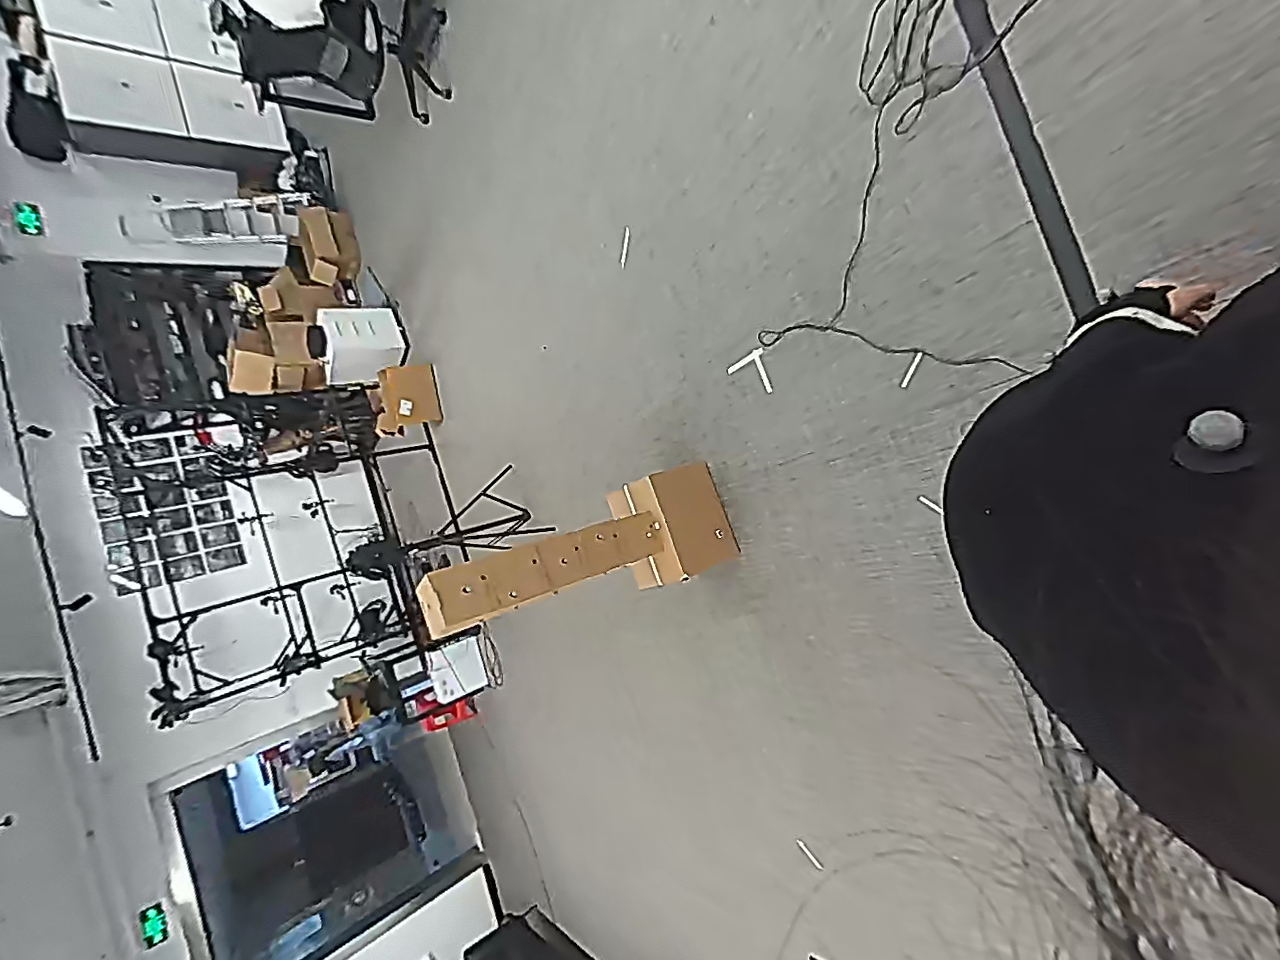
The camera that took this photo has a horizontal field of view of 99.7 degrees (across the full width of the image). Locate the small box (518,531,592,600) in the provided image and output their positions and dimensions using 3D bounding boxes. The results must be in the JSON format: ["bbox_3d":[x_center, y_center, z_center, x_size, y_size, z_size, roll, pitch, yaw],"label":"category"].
[{"bbox_3d":[-0.282,0.284,1.817,0.179,0.176,0.168,-36,72,50],"label":"small box"}]

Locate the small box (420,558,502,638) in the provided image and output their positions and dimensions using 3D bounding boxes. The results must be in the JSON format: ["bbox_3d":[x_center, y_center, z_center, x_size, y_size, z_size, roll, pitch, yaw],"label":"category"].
[{"bbox_3d":[-0.530,0.349,1.613,0.179,0.176,0.168,-41,69,48],"label":"small box"}]

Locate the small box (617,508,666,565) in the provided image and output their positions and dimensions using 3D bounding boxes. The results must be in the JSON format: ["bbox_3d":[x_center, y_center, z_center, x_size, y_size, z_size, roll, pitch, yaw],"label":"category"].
[{"bbox_3d":[-0.033,0.218,2.018,0.179,0.176,0.168,-28,80,51],"label":"small box"}]

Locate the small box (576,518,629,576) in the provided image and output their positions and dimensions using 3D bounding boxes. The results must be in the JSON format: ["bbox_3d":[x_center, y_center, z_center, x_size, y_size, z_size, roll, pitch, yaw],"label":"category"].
[{"bbox_3d":[-0.155,0.246,1.915,0.179,0.176,0.168,-31,77,52],"label":"small box"}]
